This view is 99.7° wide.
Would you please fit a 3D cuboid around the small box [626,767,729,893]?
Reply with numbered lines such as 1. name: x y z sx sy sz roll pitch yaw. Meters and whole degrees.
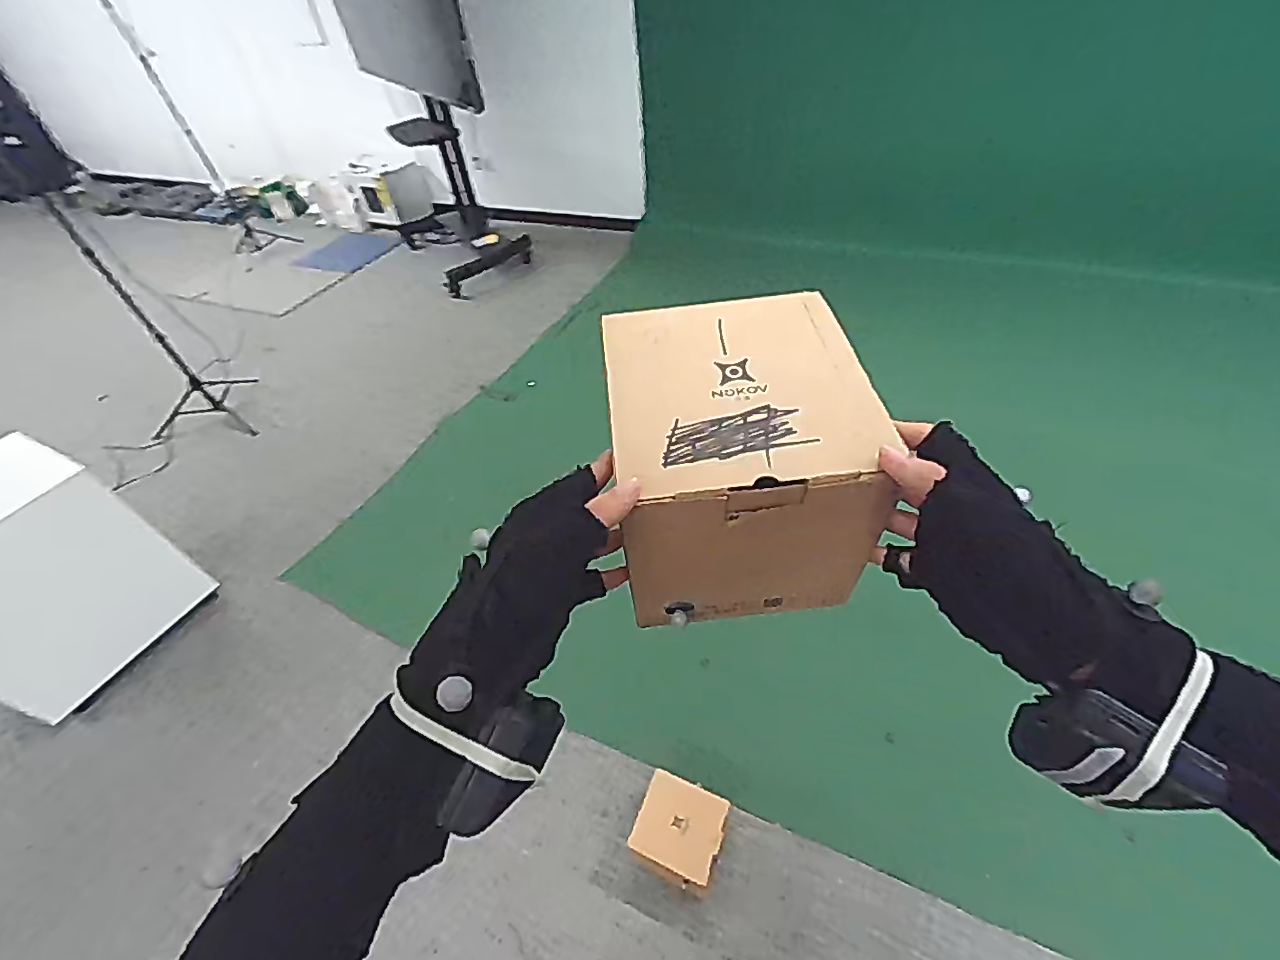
1. small box: 0.087 0.776 1.193 0.179 0.176 0.168 15 49 20

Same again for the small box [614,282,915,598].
1. small box: 0.073 -0.022 0.413 0.168 0.176 0.179 -6 51 0
